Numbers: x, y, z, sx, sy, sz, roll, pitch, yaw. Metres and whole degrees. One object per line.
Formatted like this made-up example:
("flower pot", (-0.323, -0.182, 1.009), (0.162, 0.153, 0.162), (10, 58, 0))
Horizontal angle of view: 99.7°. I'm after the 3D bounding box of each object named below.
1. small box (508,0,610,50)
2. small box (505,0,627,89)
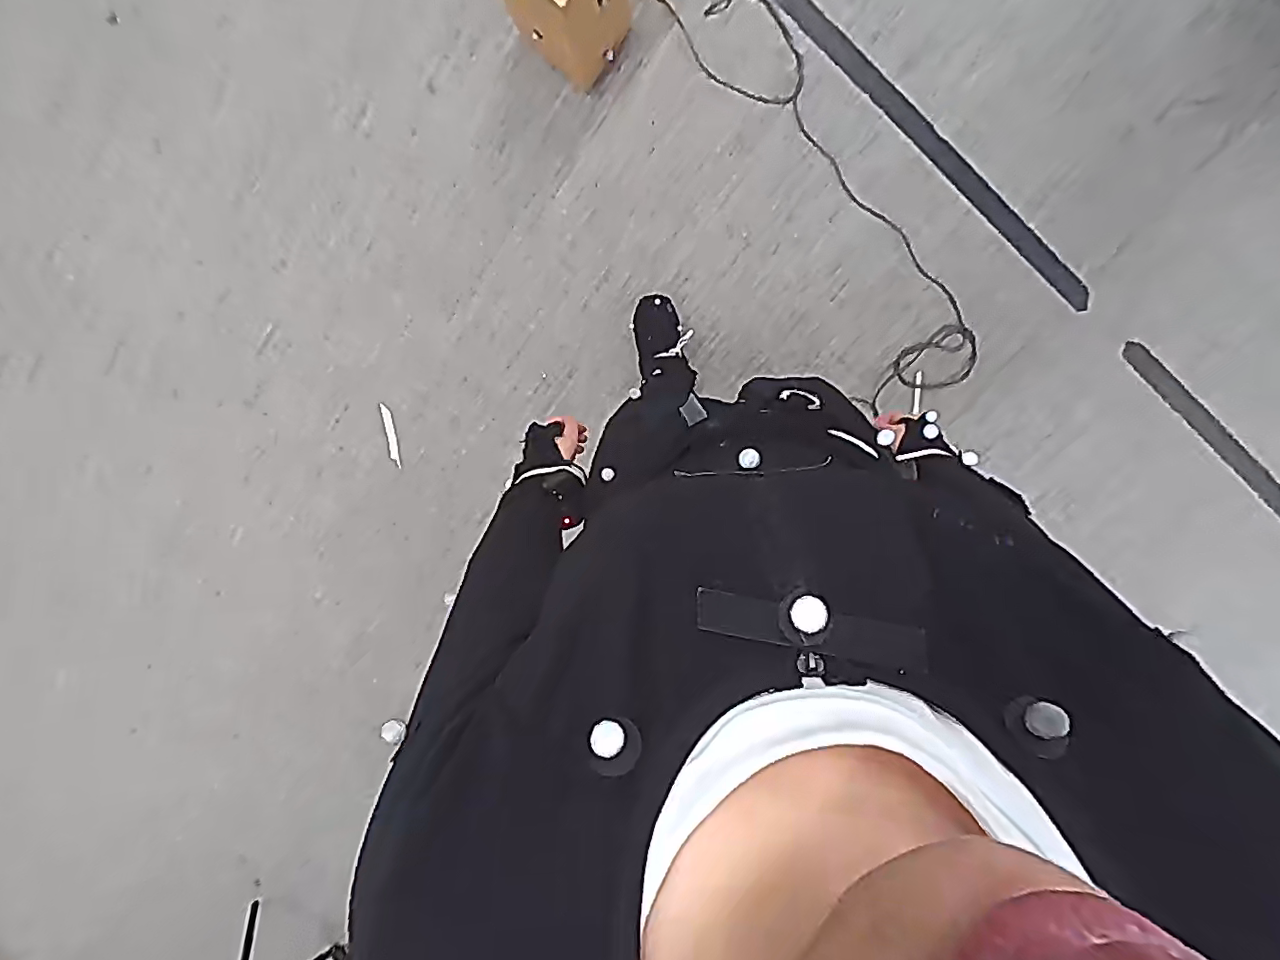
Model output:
("small box", (-0.146, -0.879, 0.901), (0.179, 0.176, 0.168), (36, 104, -8))
("small box", (-0.142, -0.922, 1.061), (0.179, 0.176, 0.168), (38, 103, -9))
